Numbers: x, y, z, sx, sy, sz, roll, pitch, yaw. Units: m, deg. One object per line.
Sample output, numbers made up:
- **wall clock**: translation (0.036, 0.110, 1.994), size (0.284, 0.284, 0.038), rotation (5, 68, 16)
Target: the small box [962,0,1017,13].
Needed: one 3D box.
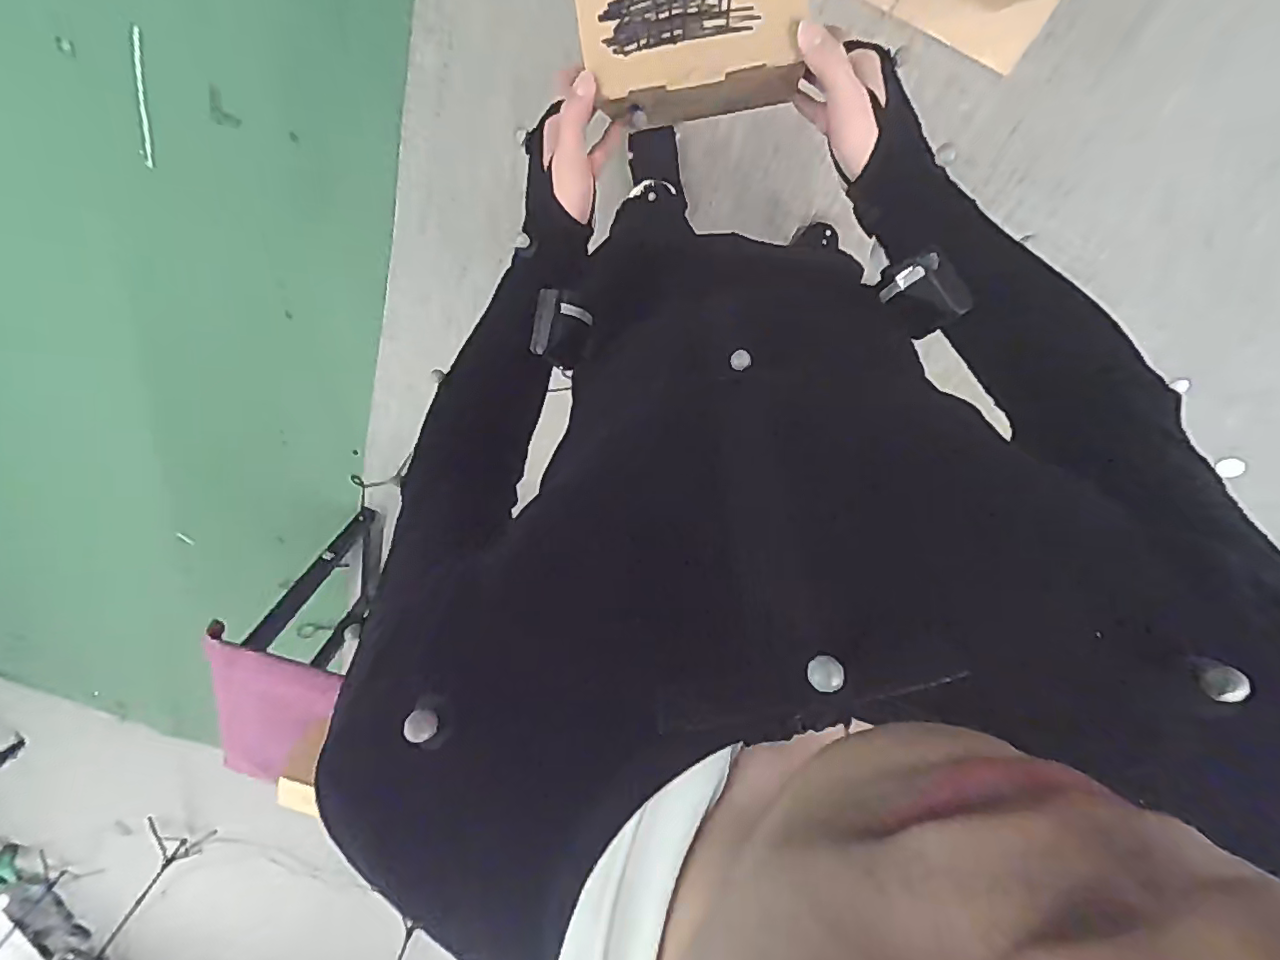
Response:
- **small box**: translation (0.663, -0.996, 0.985), size (0.179, 0.176, 0.168), rotation (23, 123, -7)

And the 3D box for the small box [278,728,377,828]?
- **small box**: translation (-0.854, 0.816, 1.488), size (0.179, 0.176, 0.168), rotation (23, 122, -7)
